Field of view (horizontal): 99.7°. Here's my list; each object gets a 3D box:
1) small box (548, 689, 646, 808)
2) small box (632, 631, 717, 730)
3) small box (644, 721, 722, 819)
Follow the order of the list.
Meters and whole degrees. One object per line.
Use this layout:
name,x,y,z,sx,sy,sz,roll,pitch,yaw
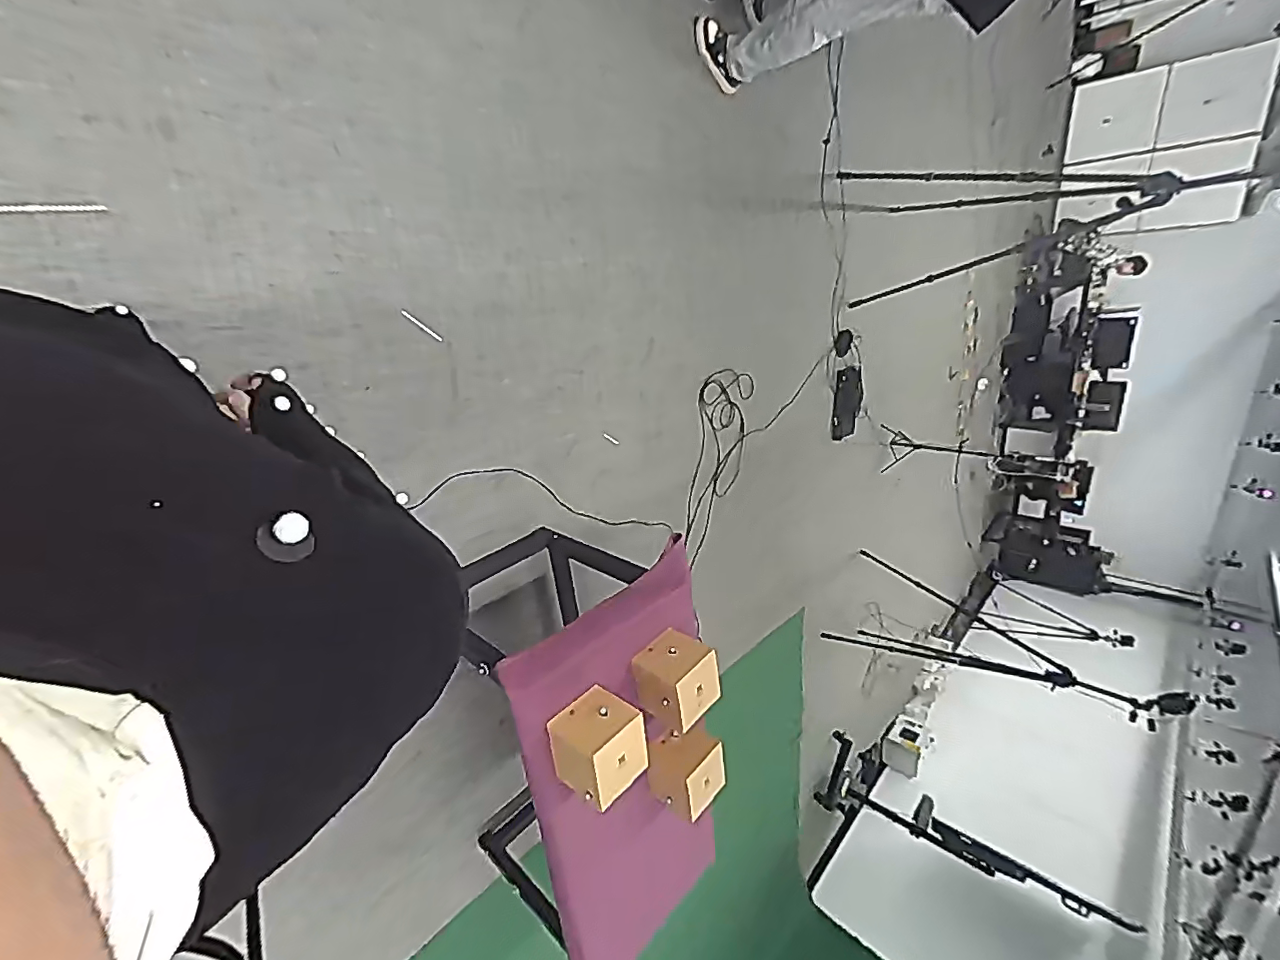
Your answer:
small box,-0.107,0.639,1.318,0.168,0.176,0.179,-25,119,-42
small box,0.094,0.546,1.506,0.168,0.176,0.179,-28,120,-38
small box,0.128,0.859,1.629,0.168,0.176,0.179,-27,118,-40
